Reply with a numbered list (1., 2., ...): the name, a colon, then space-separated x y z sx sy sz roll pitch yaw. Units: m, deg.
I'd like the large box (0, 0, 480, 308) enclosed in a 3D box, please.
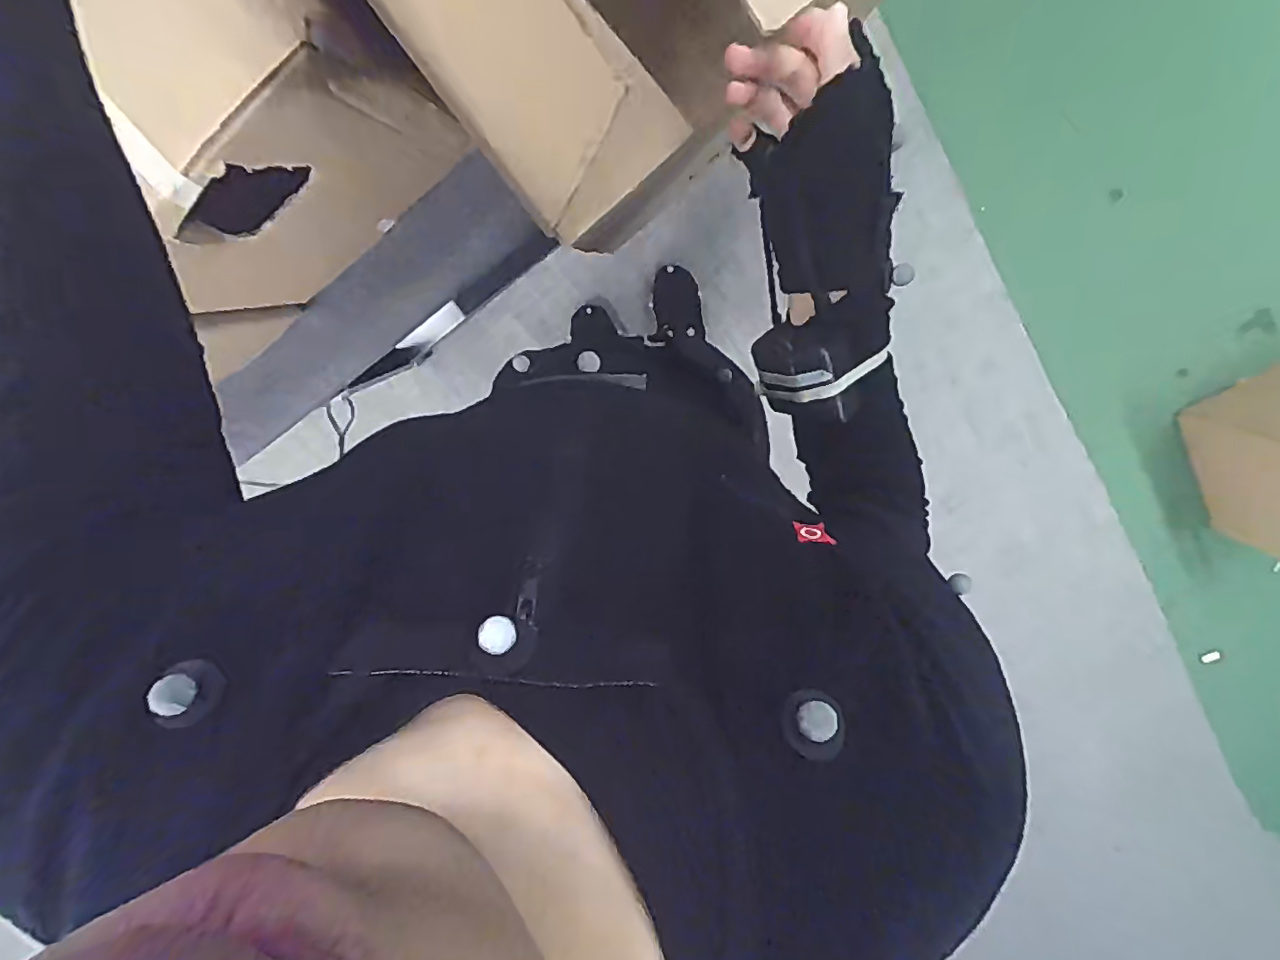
1. large box: -0.415 -0.411 0.448 0.320 0.320 0.408 -33 107 15
